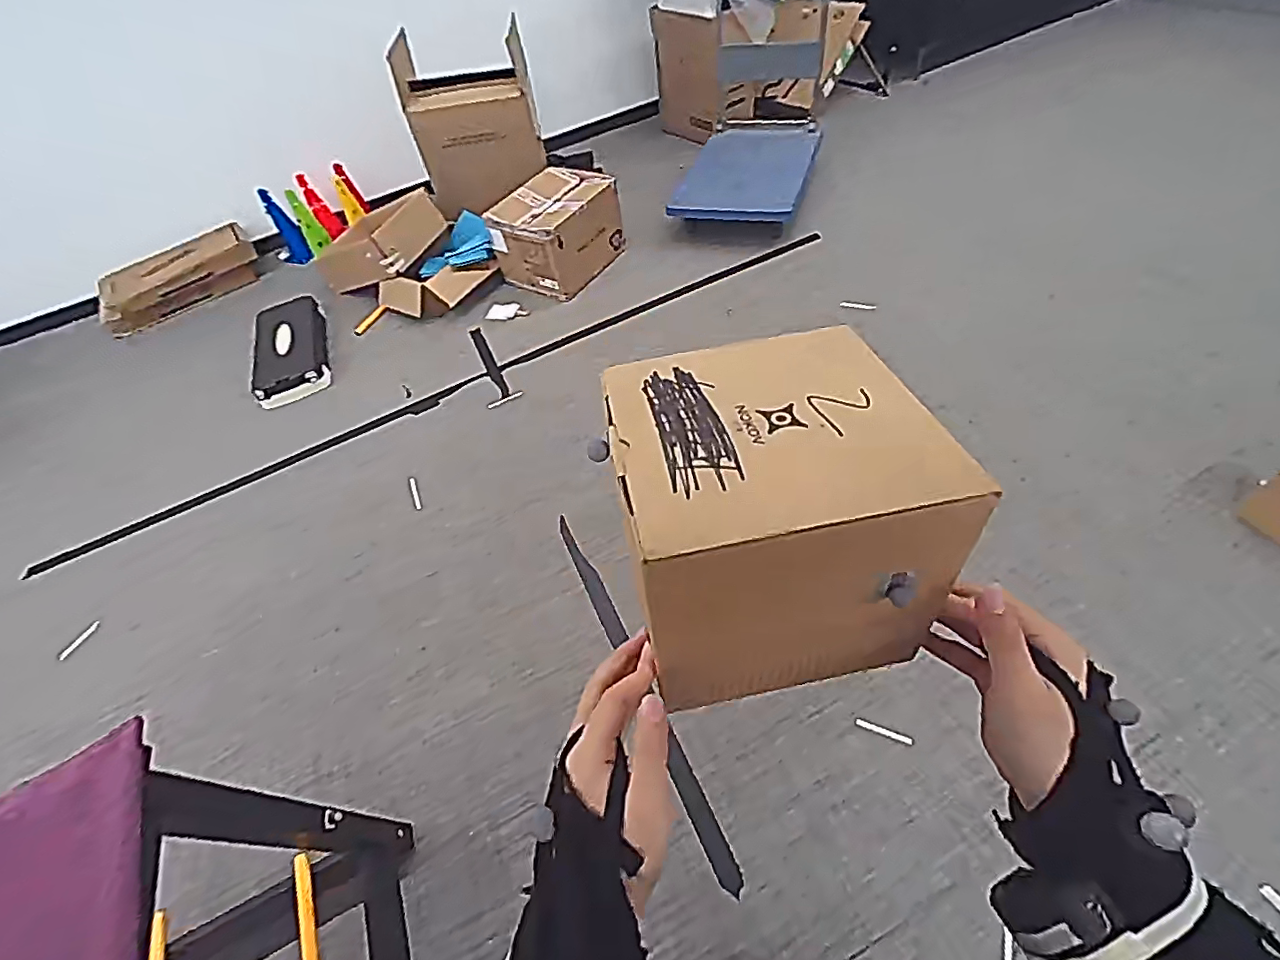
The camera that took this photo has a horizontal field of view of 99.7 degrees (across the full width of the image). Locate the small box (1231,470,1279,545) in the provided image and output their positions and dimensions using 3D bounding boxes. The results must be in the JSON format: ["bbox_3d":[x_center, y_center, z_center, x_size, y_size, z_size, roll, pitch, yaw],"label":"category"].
[{"bbox_3d":[1.639,0.057,1.318,0.168,0.176,0.179,-25,51,-10],"label":"small box"}]
